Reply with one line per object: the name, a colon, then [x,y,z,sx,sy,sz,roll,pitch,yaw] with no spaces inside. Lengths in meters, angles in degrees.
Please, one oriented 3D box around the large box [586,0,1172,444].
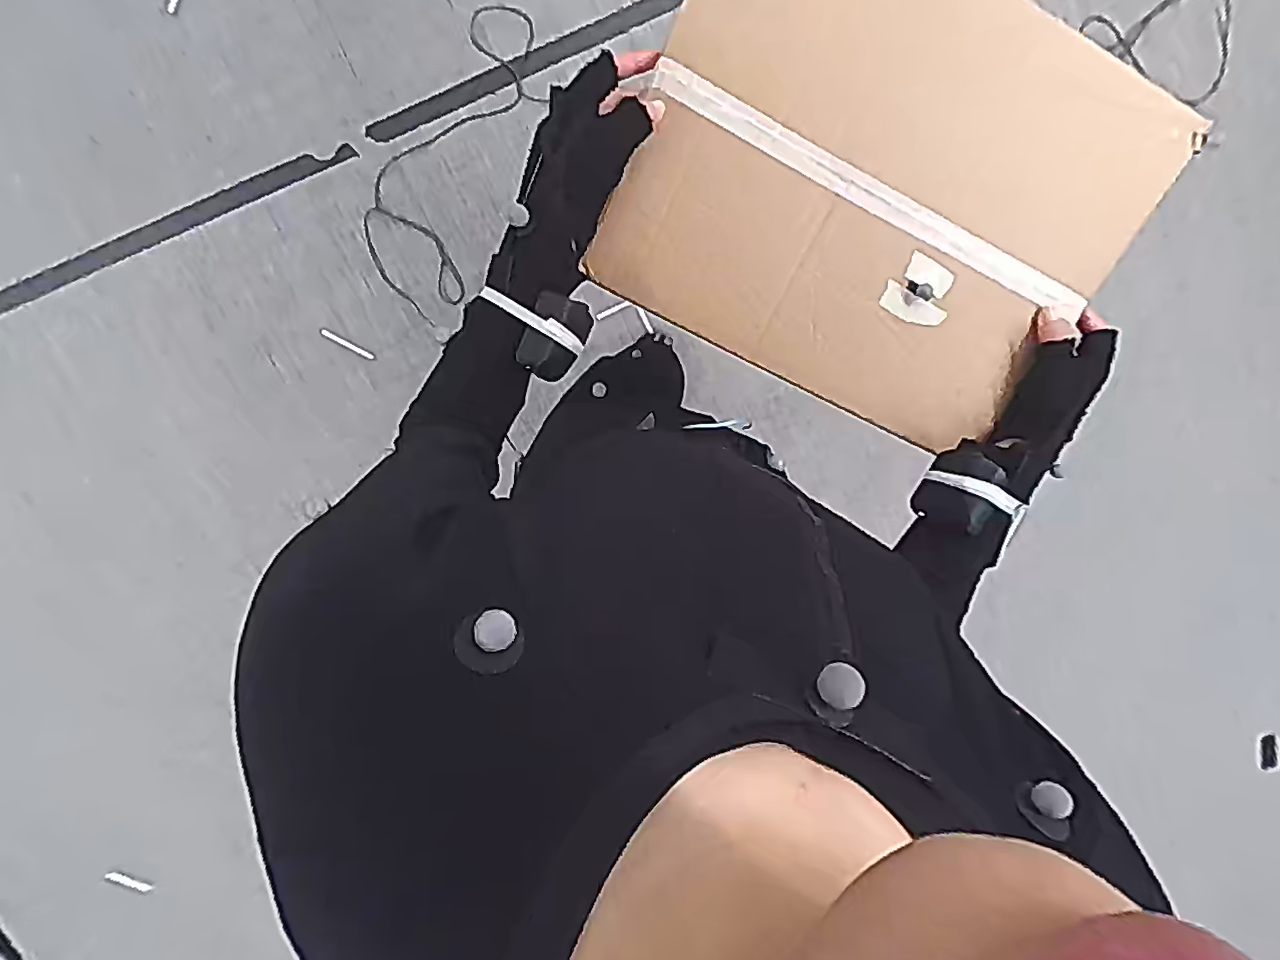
large box: [0.188,-0.290,0.593,0.408,0.320,0.320,24,109,-10]
